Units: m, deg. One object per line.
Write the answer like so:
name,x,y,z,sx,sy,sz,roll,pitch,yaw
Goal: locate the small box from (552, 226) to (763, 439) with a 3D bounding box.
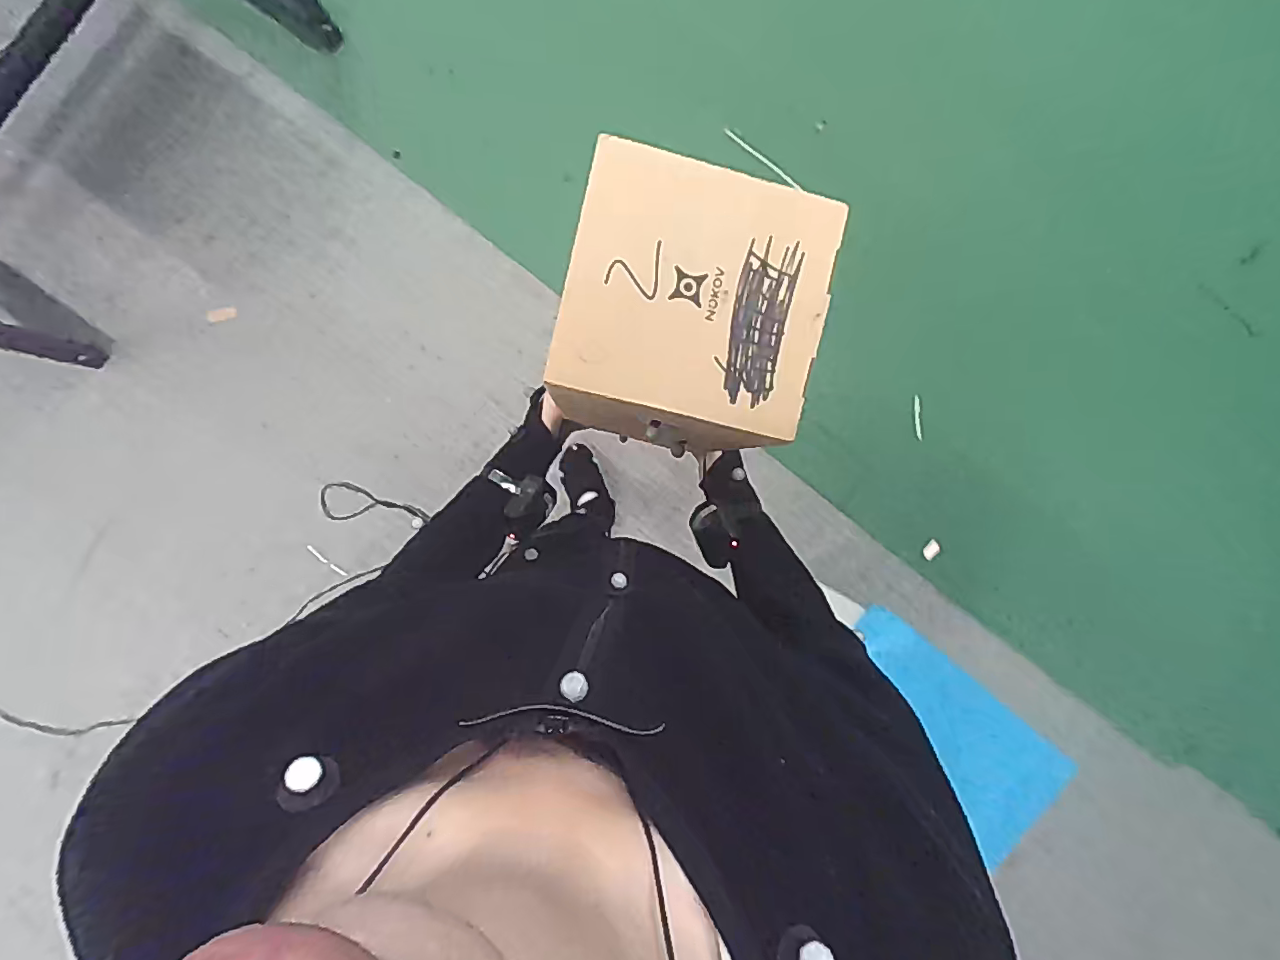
small box,0.009,-0.141,0.589,0.179,0.176,0.168,12,90,-7
